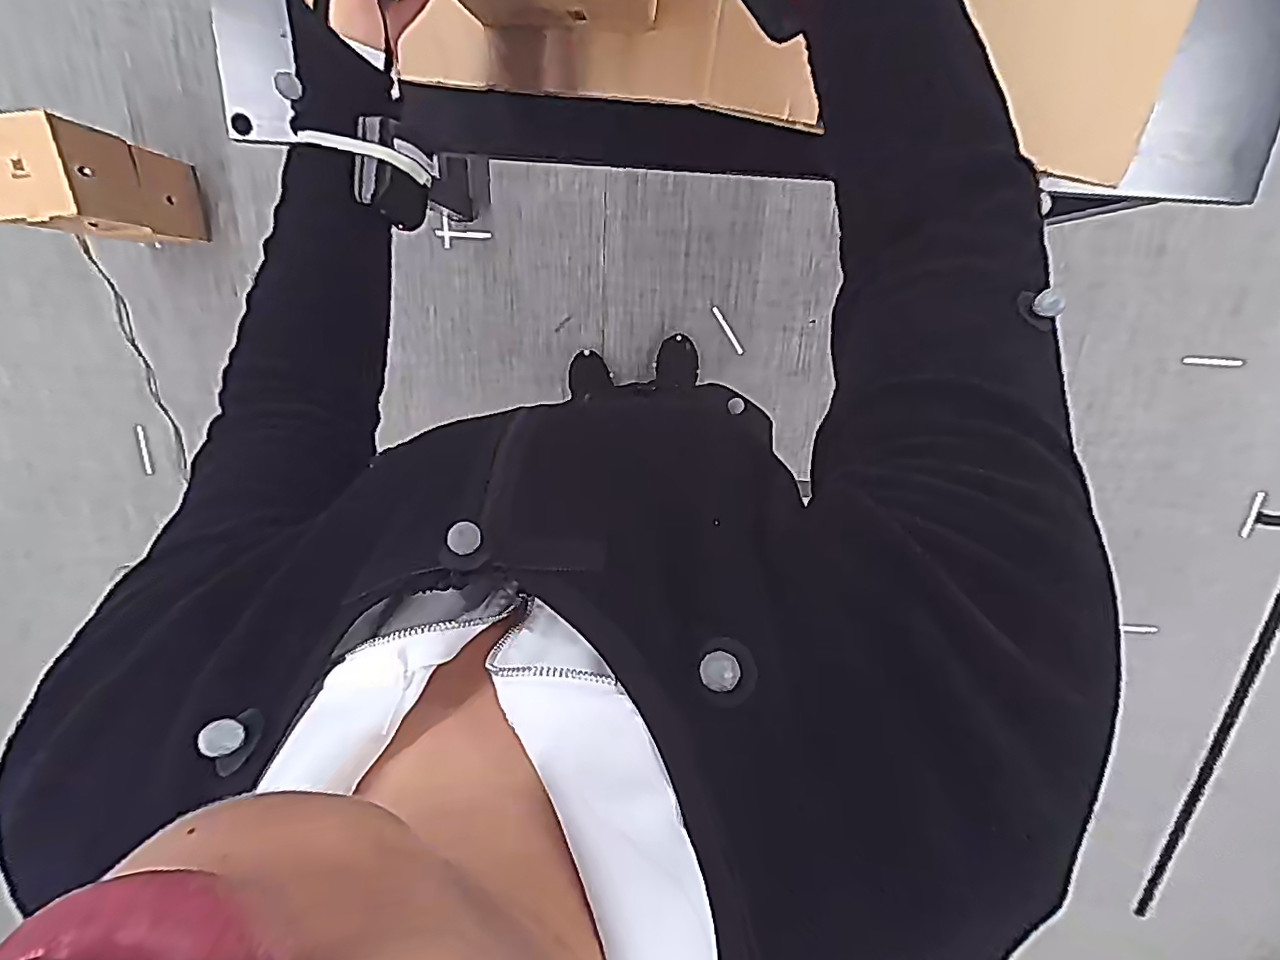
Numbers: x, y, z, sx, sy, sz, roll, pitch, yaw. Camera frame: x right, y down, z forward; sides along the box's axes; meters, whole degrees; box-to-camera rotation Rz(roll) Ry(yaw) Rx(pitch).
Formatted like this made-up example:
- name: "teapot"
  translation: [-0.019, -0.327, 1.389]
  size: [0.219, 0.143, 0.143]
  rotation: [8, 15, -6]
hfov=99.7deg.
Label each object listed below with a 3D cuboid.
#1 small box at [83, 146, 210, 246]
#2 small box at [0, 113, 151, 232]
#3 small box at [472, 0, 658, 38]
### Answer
- name: "small box"
  translation: [-1.140, -0.642, 1.237]
  size: [0.168, 0.176, 0.179]
  rotation: [0, 108, 1]
- name: "small box"
  translation: [-1.142, -0.600, 1.080]
  size: [0.168, 0.176, 0.179]
  rotation: [-4, 106, 0]
- name: "small box"
  translation: [-0.073, -0.453, 0.371]
  size: [0.168, 0.176, 0.179]
  rotation: [13, 107, 13]
